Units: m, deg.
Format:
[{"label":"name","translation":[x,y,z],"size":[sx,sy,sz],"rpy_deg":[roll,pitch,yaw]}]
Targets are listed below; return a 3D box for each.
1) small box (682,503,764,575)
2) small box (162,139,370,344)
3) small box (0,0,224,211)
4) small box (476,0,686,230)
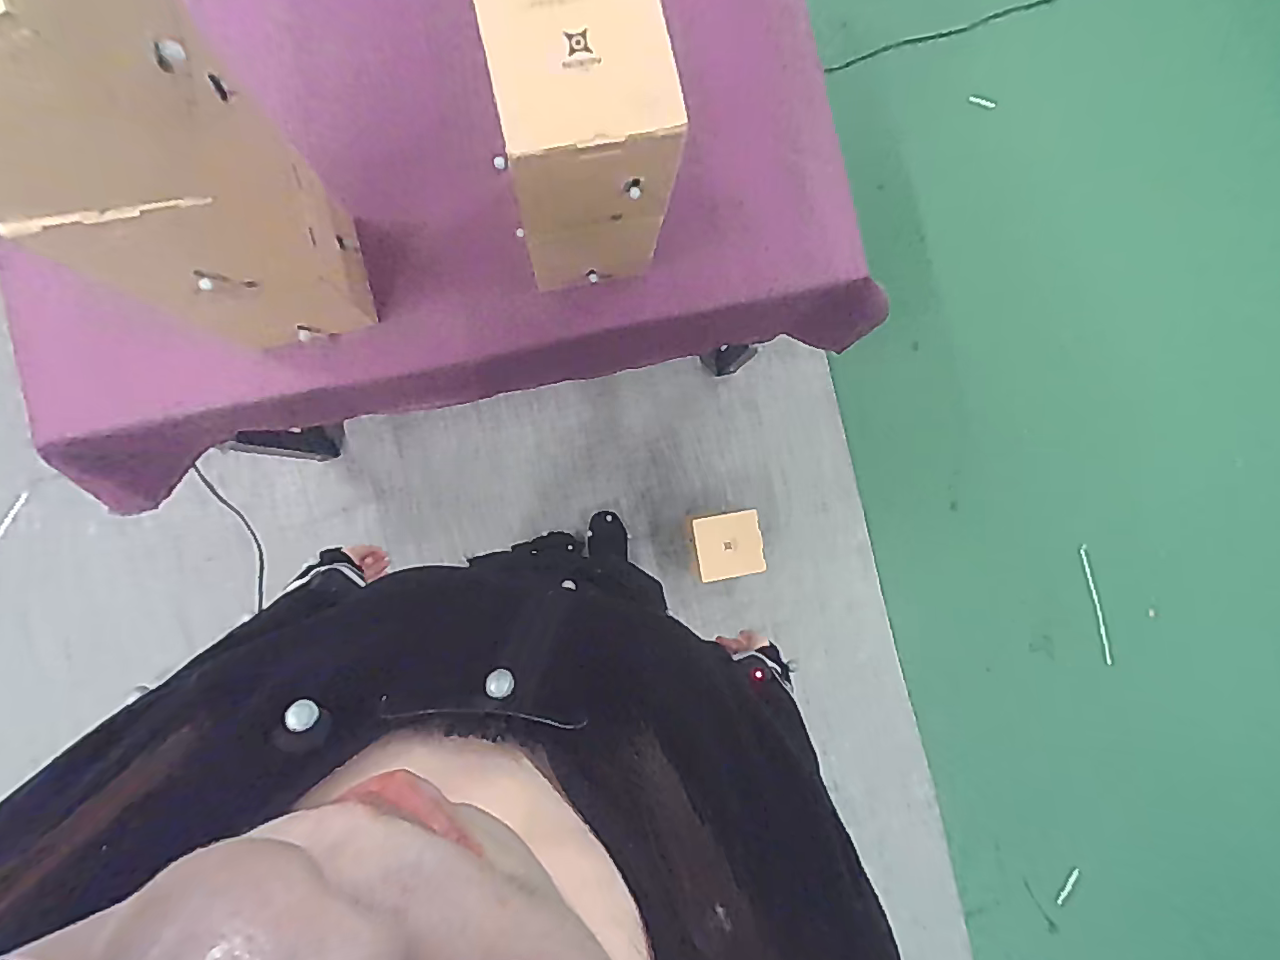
[{"label":"small box","translation":[0.218,0.156,1.477],"size":[0.179,0.176,0.168],"rpy_deg":[-10,90,-7]},{"label":"small box","translation":[-0.466,-0.287,0.683],"size":[0.179,0.176,0.168],"rpy_deg":[-14,90,-7]},{"label":"small box","translation":[-0.429,-0.302,0.355],"size":[0.179,0.176,0.168],"rpy_deg":[-11,90,-7]},{"label":"small box","translation":[-0.060,-0.382,0.561],"size":[0.168,0.176,0.179],"rpy_deg":[-13,90,-6]}]
